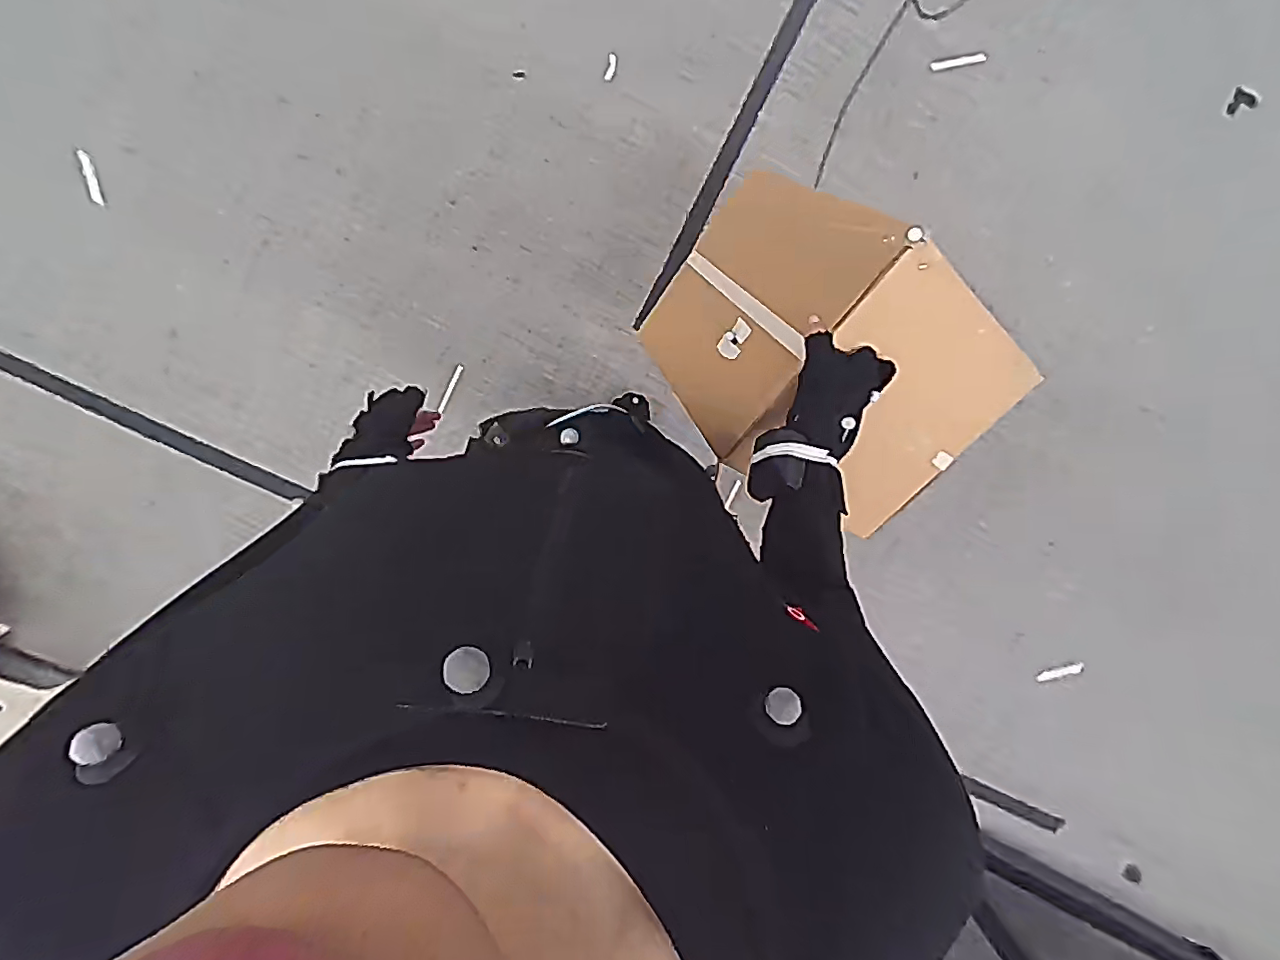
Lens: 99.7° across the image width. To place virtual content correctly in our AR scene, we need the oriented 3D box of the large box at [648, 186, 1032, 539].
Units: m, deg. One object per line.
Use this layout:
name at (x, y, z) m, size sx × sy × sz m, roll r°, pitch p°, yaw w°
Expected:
large box at (0.266, -0.185, 0.829) m, size 0.320 × 0.408 × 0.320 m, roll 25°, pitch 116°, yaw -32°
